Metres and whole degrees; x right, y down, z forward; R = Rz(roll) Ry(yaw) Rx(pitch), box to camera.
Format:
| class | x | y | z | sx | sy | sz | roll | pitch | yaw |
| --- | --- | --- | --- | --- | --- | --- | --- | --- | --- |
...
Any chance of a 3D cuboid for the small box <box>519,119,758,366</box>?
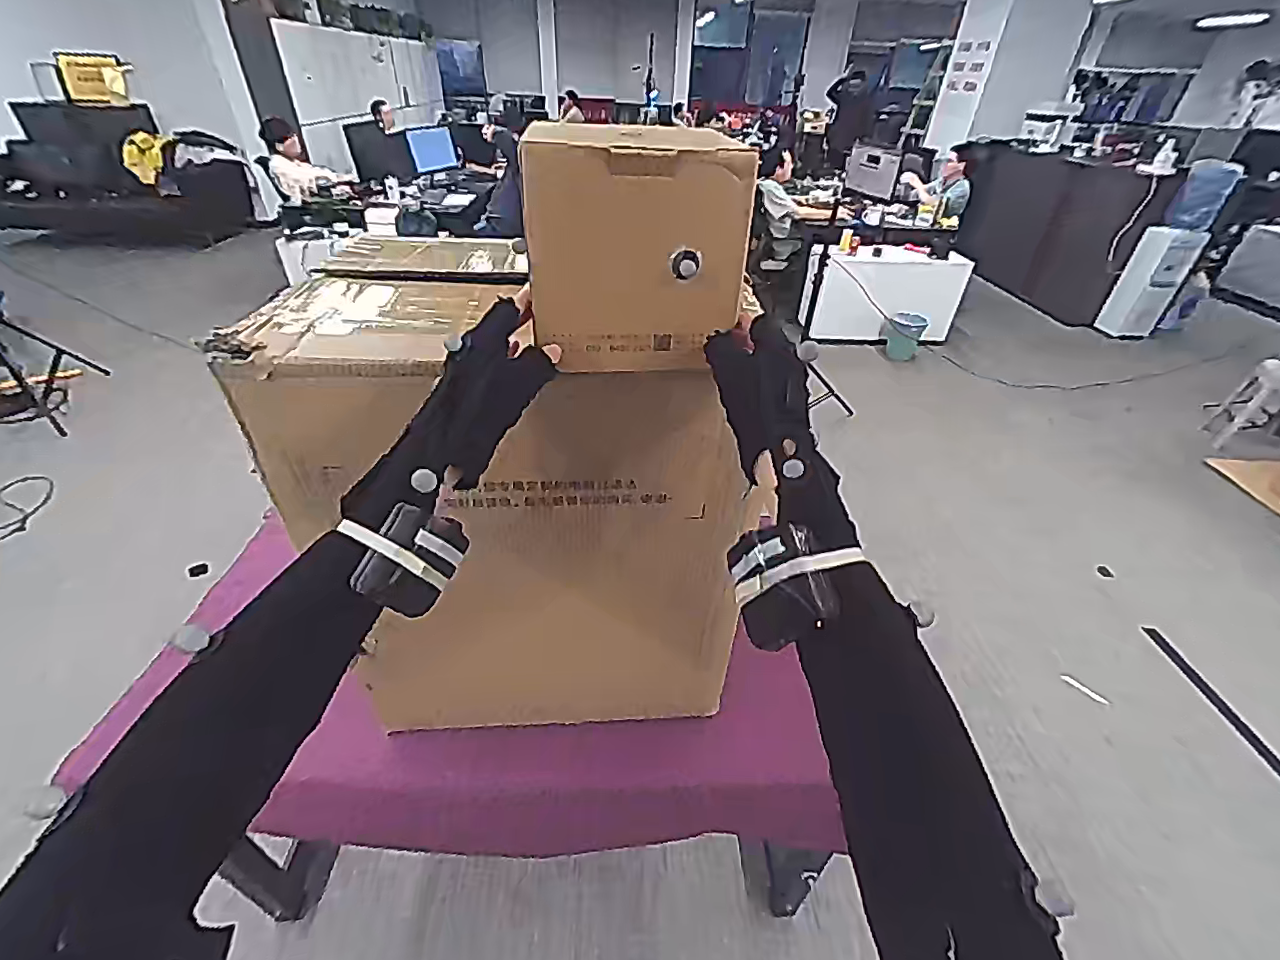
| class | x | y | z | sx | sy | sz | roll | pitch | yaw |
| --- | --- | --- | --- | --- | --- | --- | --- | --- | --- |
| small box | -0.009 | -0.208 | 0.473 | 0.168 | 0.176 | 0.179 | -1 | 36 | -7 |
